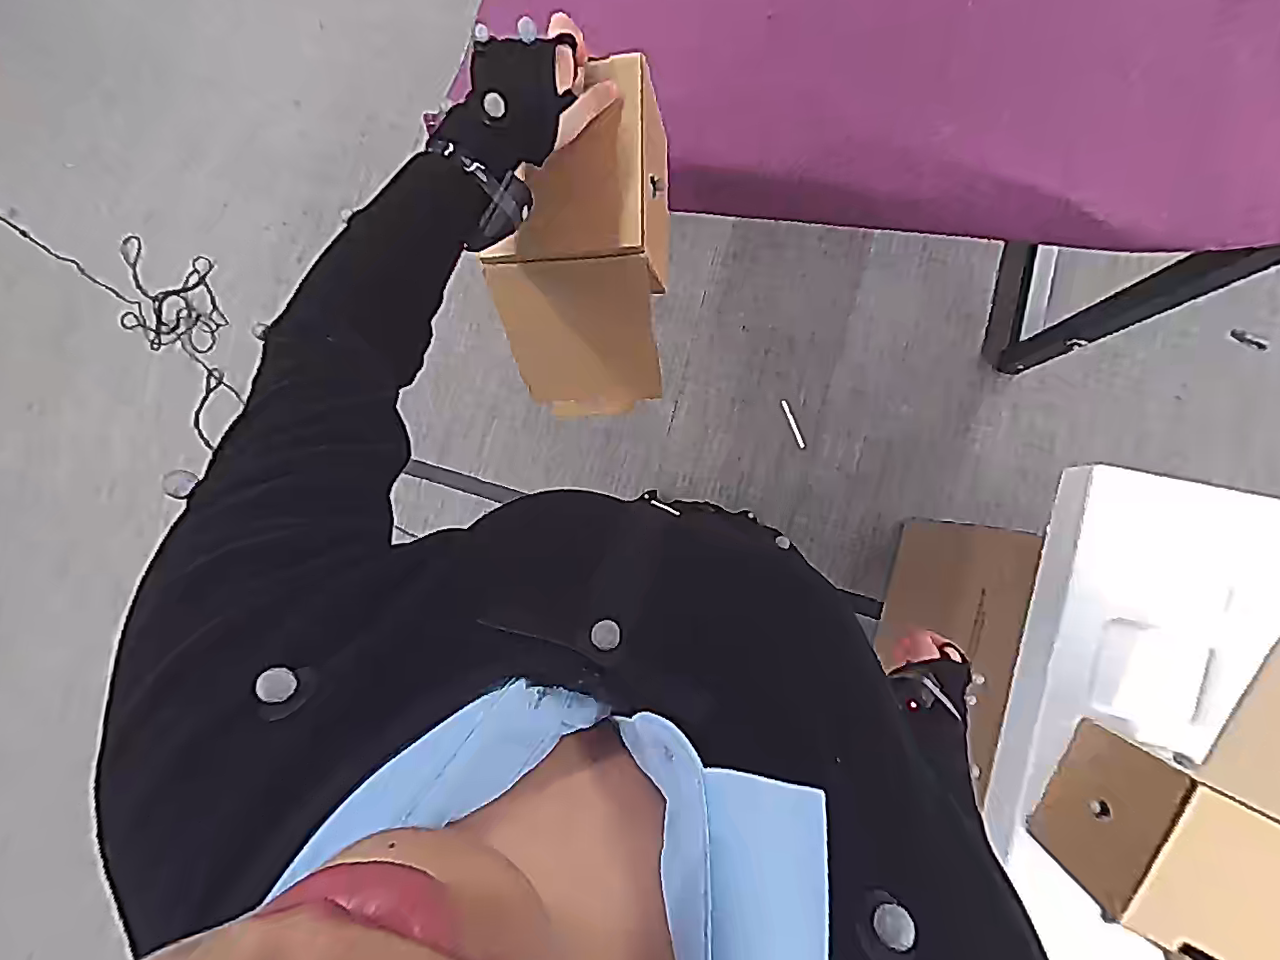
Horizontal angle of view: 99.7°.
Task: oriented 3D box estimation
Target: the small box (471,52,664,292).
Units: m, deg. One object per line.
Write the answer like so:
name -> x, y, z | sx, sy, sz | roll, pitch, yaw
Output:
small box -> -0.065, -0.306, 0.583 | 0.168, 0.176, 0.179 | 1, 97, 10
